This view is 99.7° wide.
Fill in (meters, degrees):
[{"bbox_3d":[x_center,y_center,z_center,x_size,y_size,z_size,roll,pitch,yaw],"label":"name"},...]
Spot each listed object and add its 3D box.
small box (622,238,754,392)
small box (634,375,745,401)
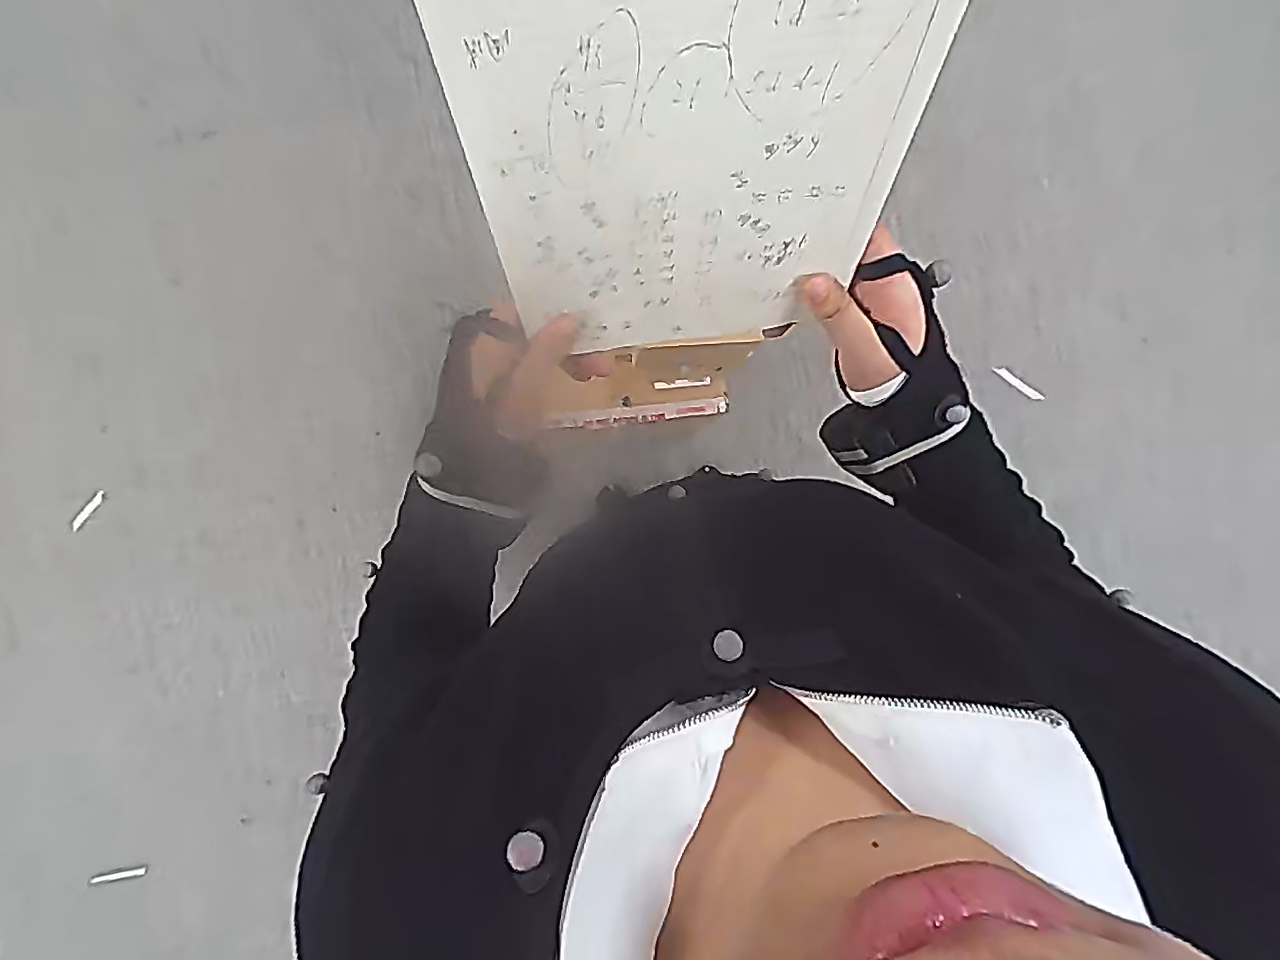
[{"bbox_3d":[0.061,-0.230,0.789,0.168,0.176,0.179,-4,92,-3],"label":"small box"},{"bbox_3d":[0.073,-0.238,0.954,0.179,0.176,0.168,-8,91,-2],"label":"small box"}]
